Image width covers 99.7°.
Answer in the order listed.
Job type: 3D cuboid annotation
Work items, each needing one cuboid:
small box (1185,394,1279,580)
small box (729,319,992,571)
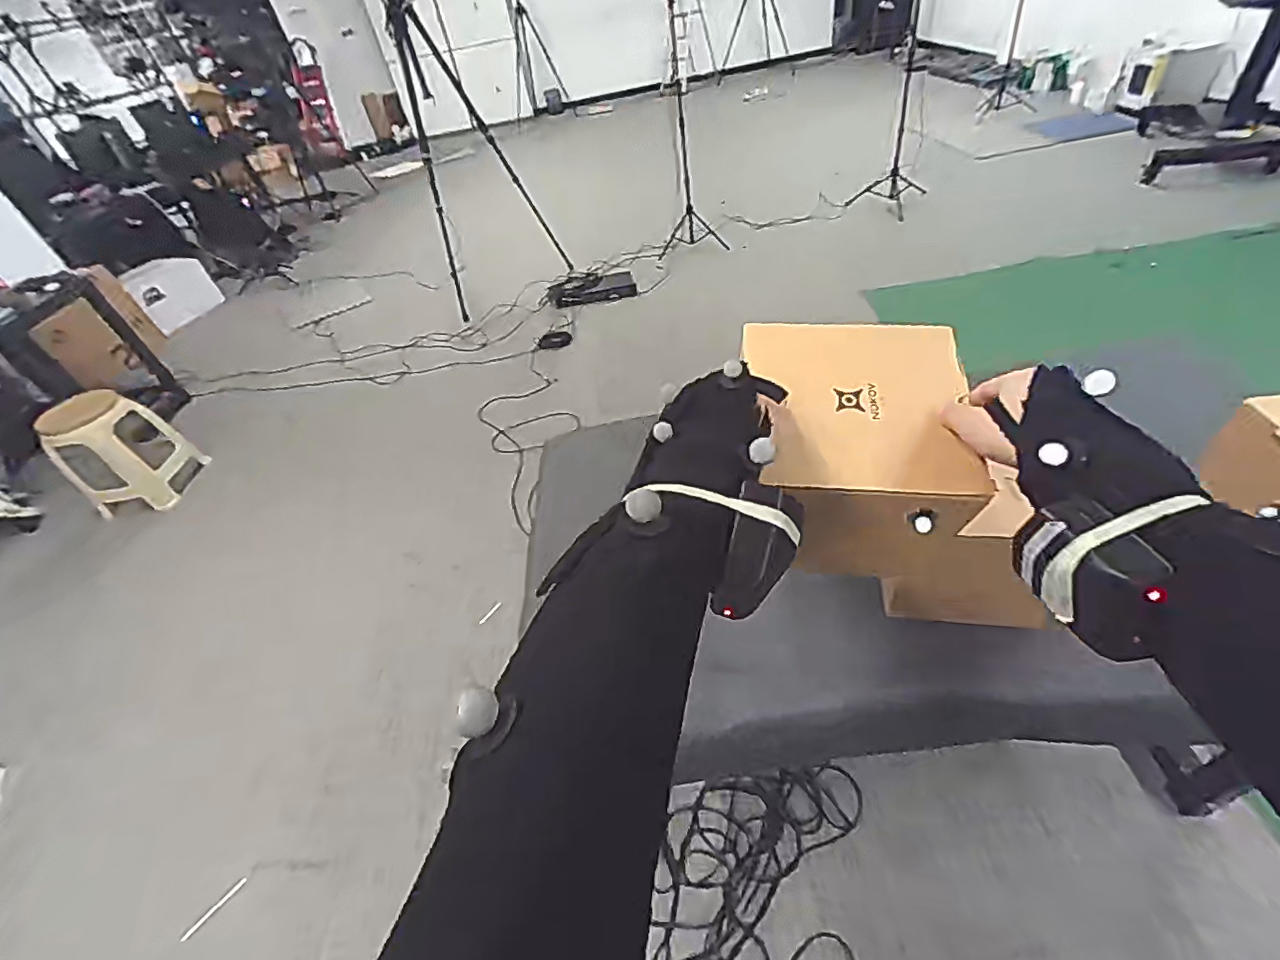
[{"bbox_3d":[0.821,0.008,0.646,0.179,0.176,0.168,-4,45,8],"label":"small box"},{"bbox_3d":[0.175,-0.025,0.493,0.179,0.176,0.168,3,61,6],"label":"small box"}]
